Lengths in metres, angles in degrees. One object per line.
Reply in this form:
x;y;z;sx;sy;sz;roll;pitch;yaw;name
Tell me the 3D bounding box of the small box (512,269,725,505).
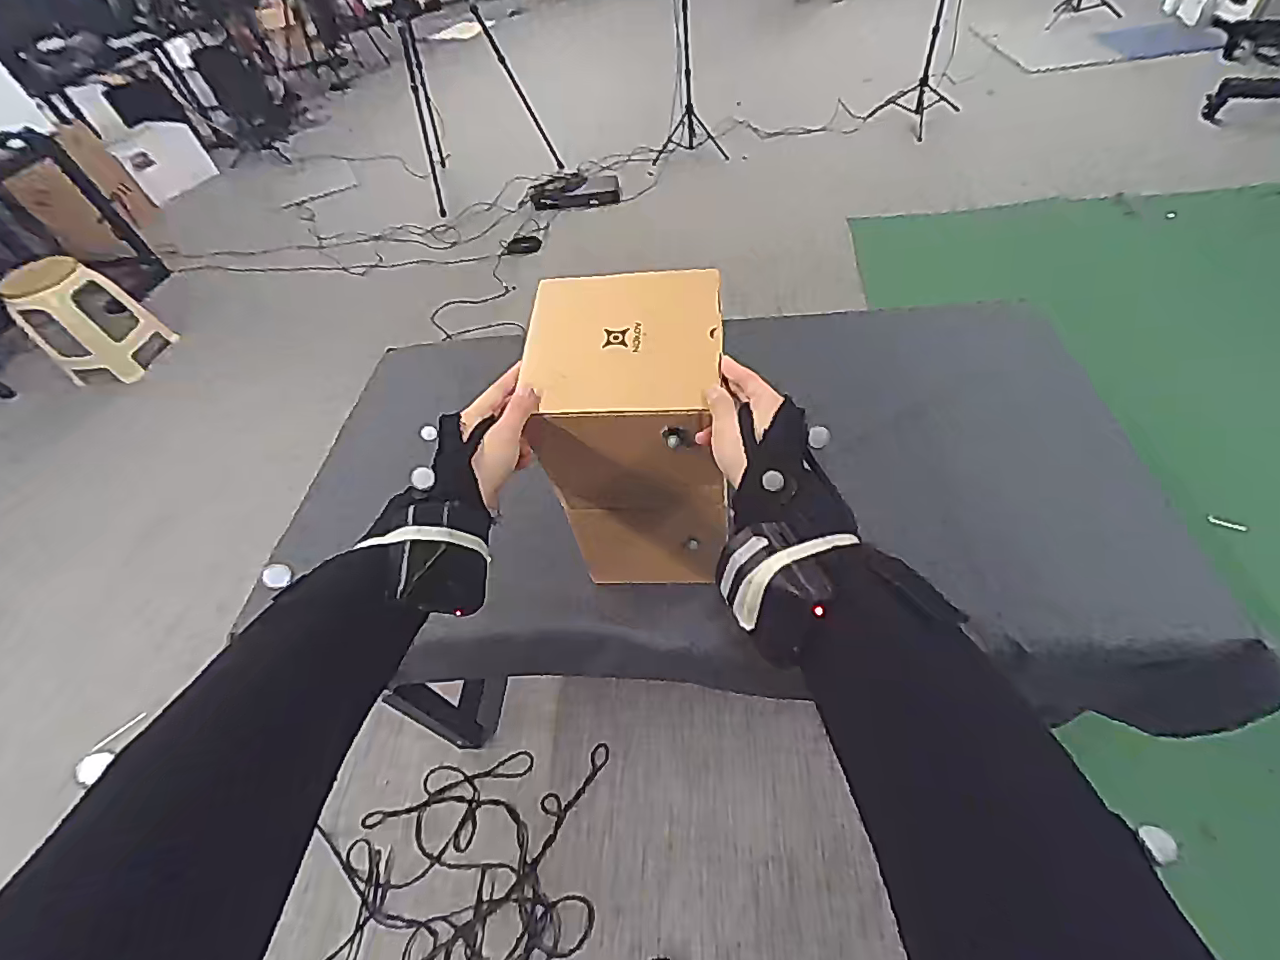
-0.005;-0.083;0.540;0.179;0.176;0.168;-1;59;8;small box
